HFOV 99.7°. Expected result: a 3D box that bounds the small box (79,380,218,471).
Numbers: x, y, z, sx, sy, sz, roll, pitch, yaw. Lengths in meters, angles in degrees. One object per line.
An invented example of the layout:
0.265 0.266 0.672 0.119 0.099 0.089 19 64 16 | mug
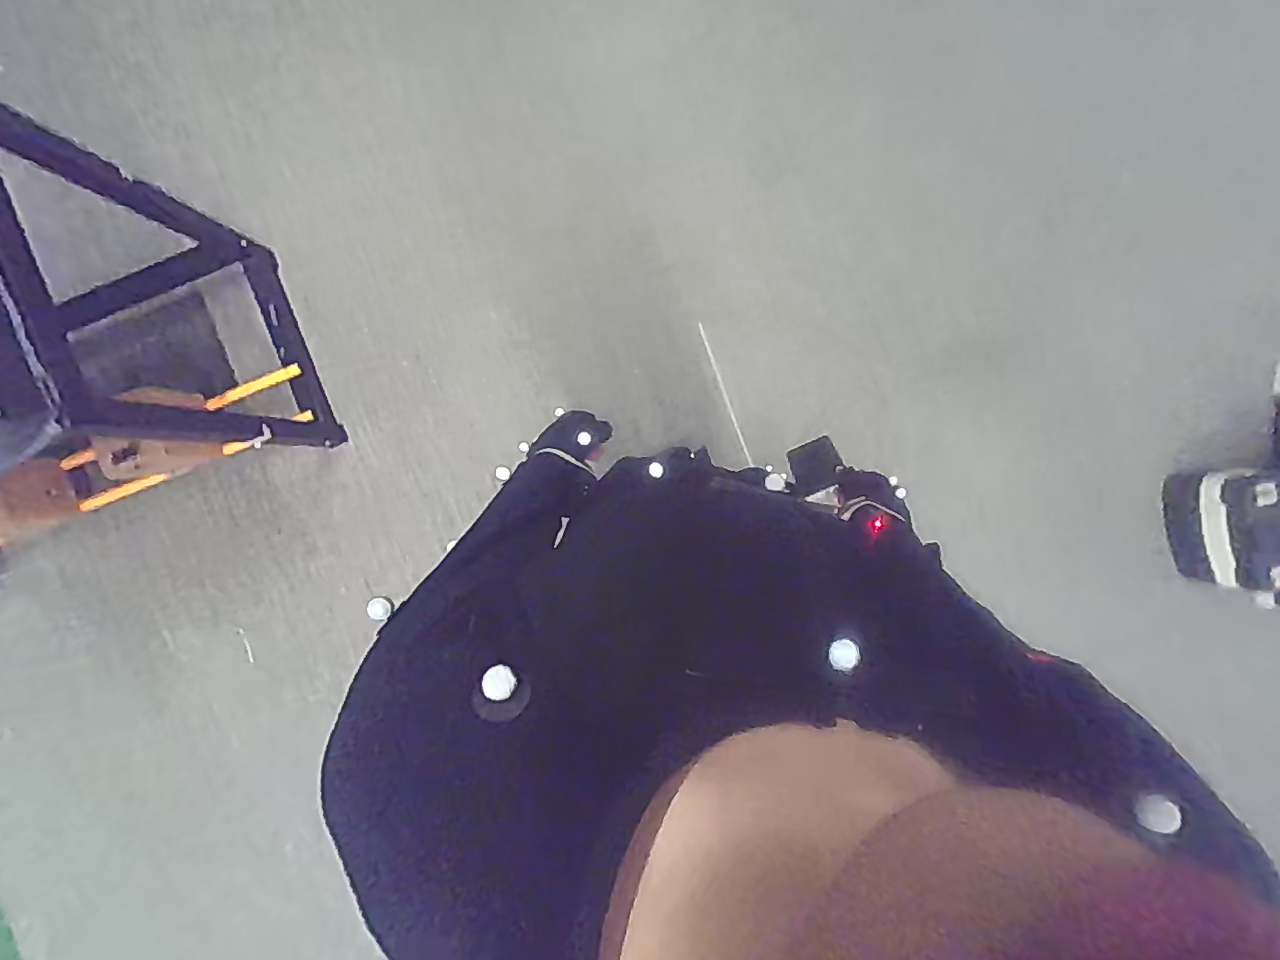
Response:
-1.192 -0.130 1.327 0.168 0.176 0.179 -17 92 2 | small box
